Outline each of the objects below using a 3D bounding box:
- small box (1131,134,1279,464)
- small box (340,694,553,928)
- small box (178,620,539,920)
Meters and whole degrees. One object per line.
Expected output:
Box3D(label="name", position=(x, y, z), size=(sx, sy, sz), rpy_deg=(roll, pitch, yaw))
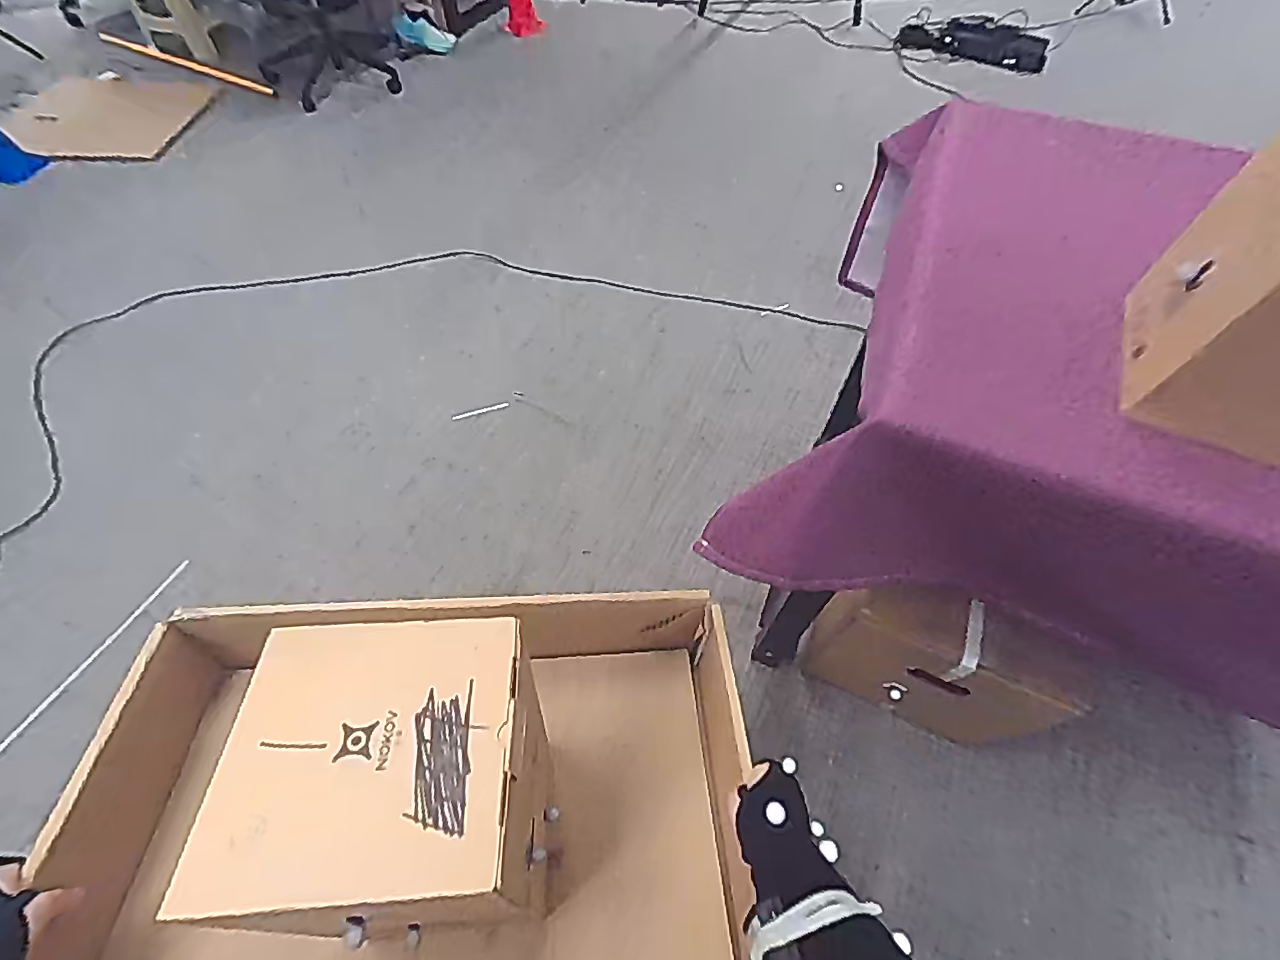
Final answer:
Box3D(label="small box", position=(0.494, -0.119, 0.375), size=(0.179, 0.176, 0.168), rpy_deg=(23, 61, 15))
Box3D(label="small box", position=(-0.182, 0.327, 0.534), size=(0.179, 0.176, 0.168), rpy_deg=(-2, 50, -6))
Box3D(label="small box", position=(-0.173, 0.220, 0.409), size=(0.179, 0.176, 0.168), rpy_deg=(-2, 49, -4))
